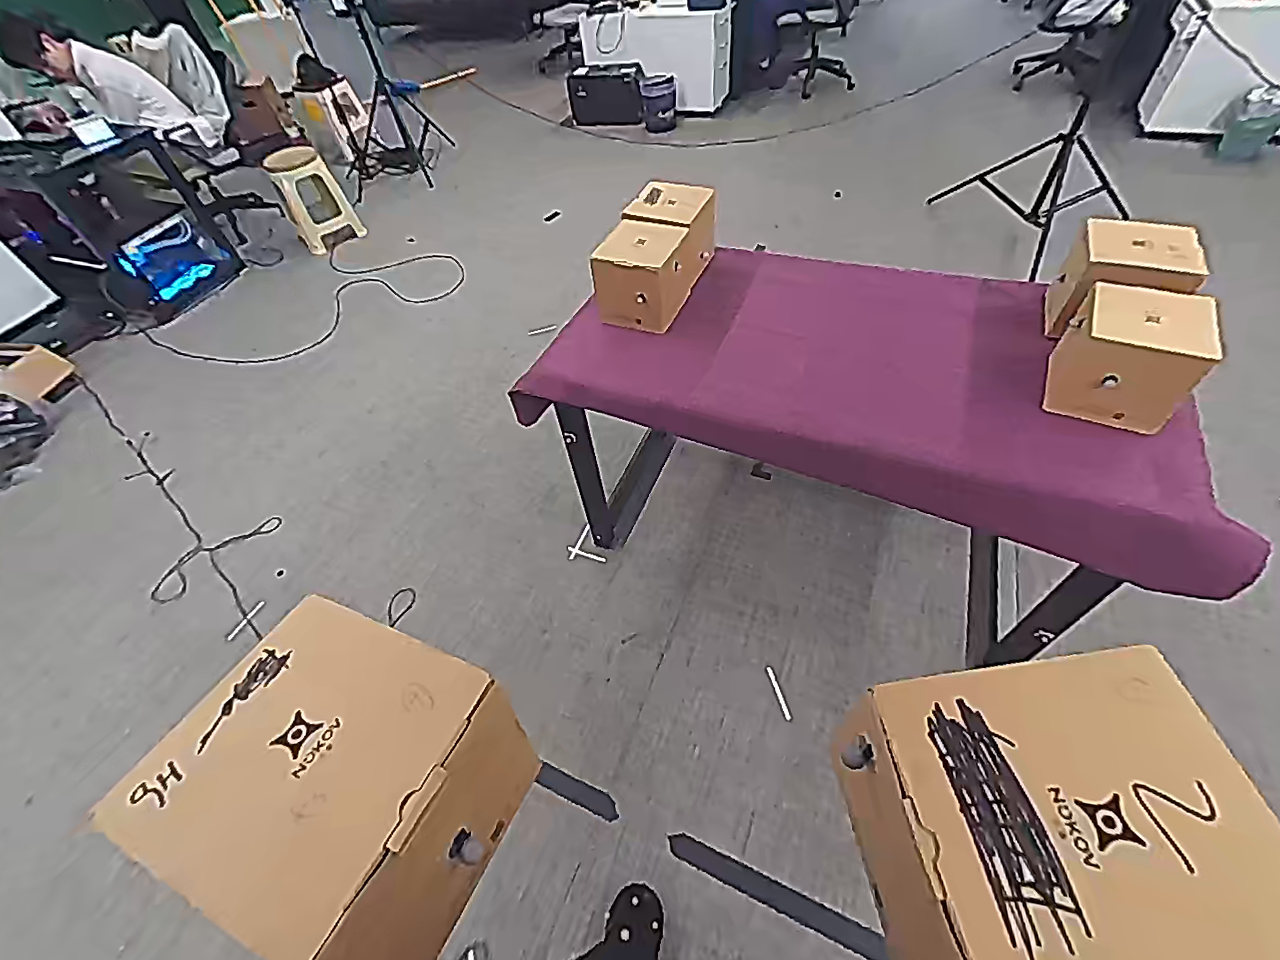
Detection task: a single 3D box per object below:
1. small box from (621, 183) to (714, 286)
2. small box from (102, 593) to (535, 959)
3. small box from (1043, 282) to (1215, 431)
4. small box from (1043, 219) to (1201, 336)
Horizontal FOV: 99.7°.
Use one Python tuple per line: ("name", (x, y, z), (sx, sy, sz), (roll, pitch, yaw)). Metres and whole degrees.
("small box", (0.073, -0.604, 1.337), (0.179, 0.176, 0.168), (18, 58, 19))
("small box", (-0.197, 0.217, 0.392), (0.179, 0.176, 0.168), (17, 49, 18))
("small box", (0.834, -0.212, 0.938), (0.168, 0.176, 0.179), (20, 55, 22))
("small box", (0.922, -0.381, 1.055), (0.179, 0.176, 0.168), (17, 56, 19))
